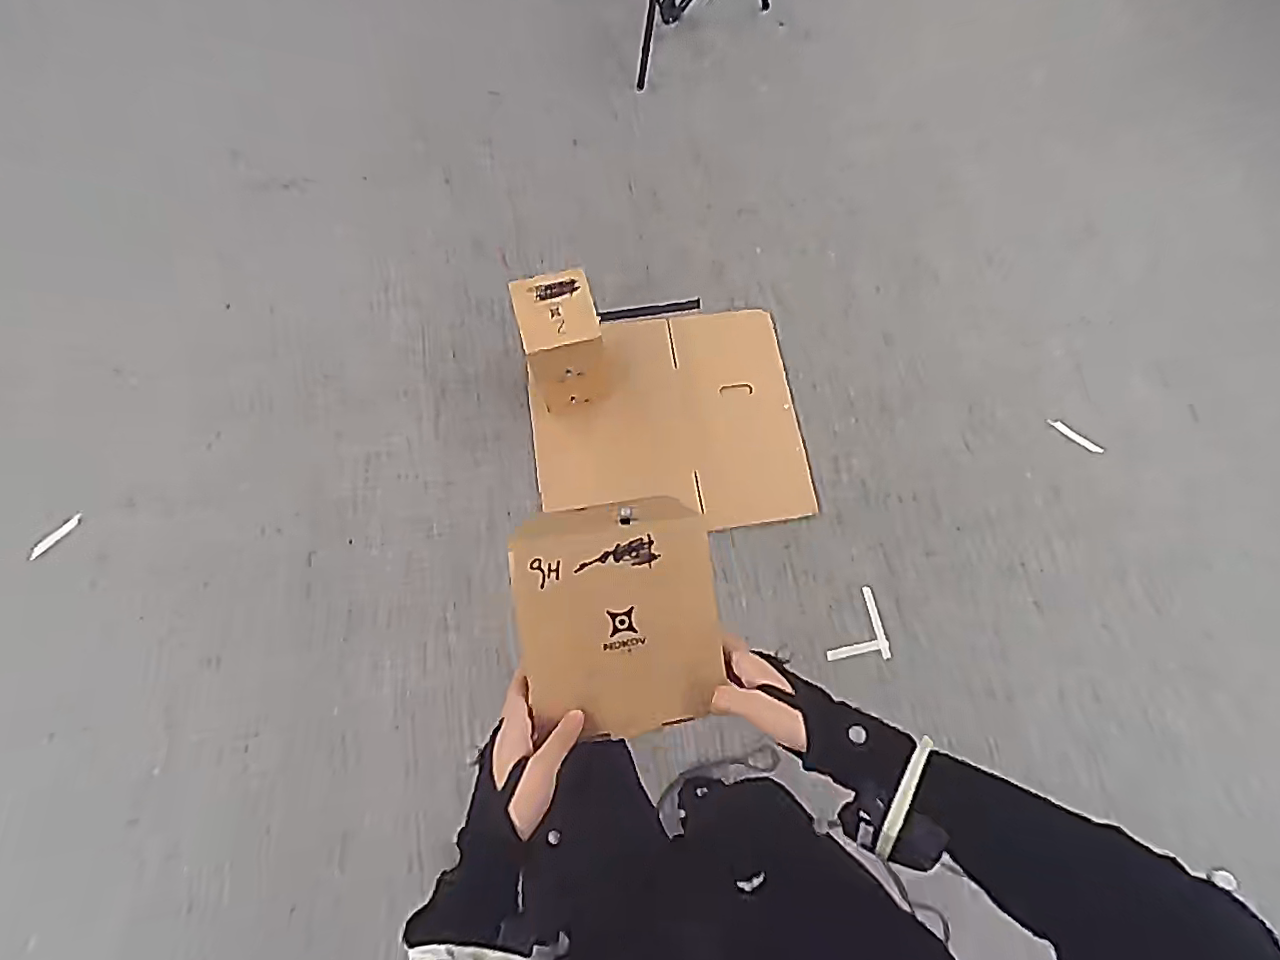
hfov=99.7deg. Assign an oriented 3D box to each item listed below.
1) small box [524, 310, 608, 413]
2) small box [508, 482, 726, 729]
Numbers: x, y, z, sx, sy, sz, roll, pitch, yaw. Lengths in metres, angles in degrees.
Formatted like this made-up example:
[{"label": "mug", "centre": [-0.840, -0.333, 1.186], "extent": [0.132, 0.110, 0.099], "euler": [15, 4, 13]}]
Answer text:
[{"label": "small box", "centre": [-0.182, -0.295, 1.368], "extent": [0.168, 0.176, 0.179], "euler": [-17, 76, -6]}, {"label": "small box", "centre": [-0.025, 0.105, 0.528], "extent": [0.168, 0.176, 0.179], "euler": [-9, 96, -7]}]
